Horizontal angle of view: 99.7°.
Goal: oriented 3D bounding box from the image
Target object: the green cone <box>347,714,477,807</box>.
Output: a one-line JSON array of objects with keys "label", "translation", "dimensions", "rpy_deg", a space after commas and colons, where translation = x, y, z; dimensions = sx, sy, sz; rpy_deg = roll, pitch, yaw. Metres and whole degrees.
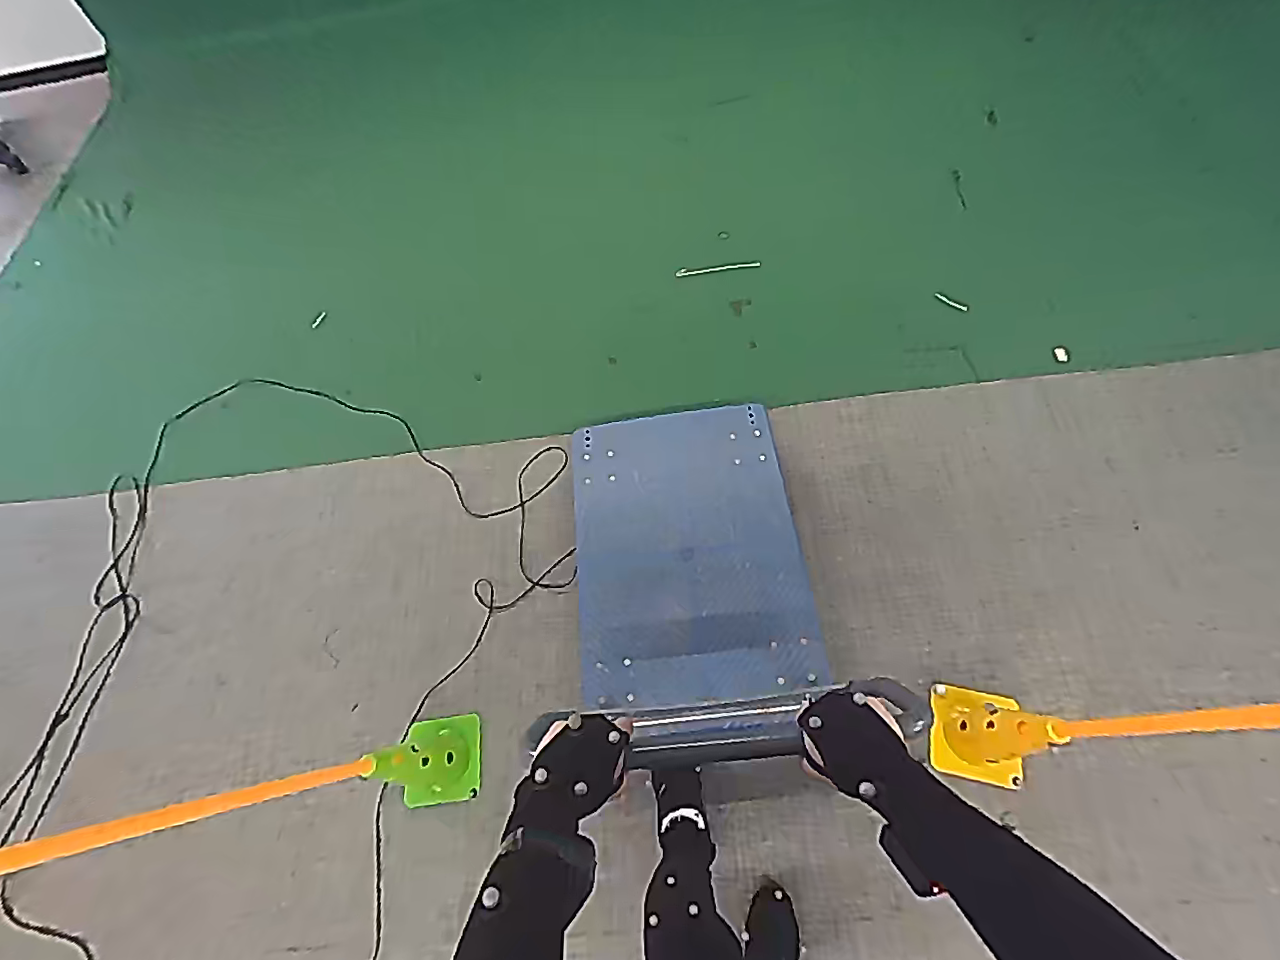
[{"label": "green cone", "translation": [-0.544, 0.652, 1.253], "dimensions": [0.202, 0.368, 0.200], "rpy_deg": [-11, 63, 4]}]
